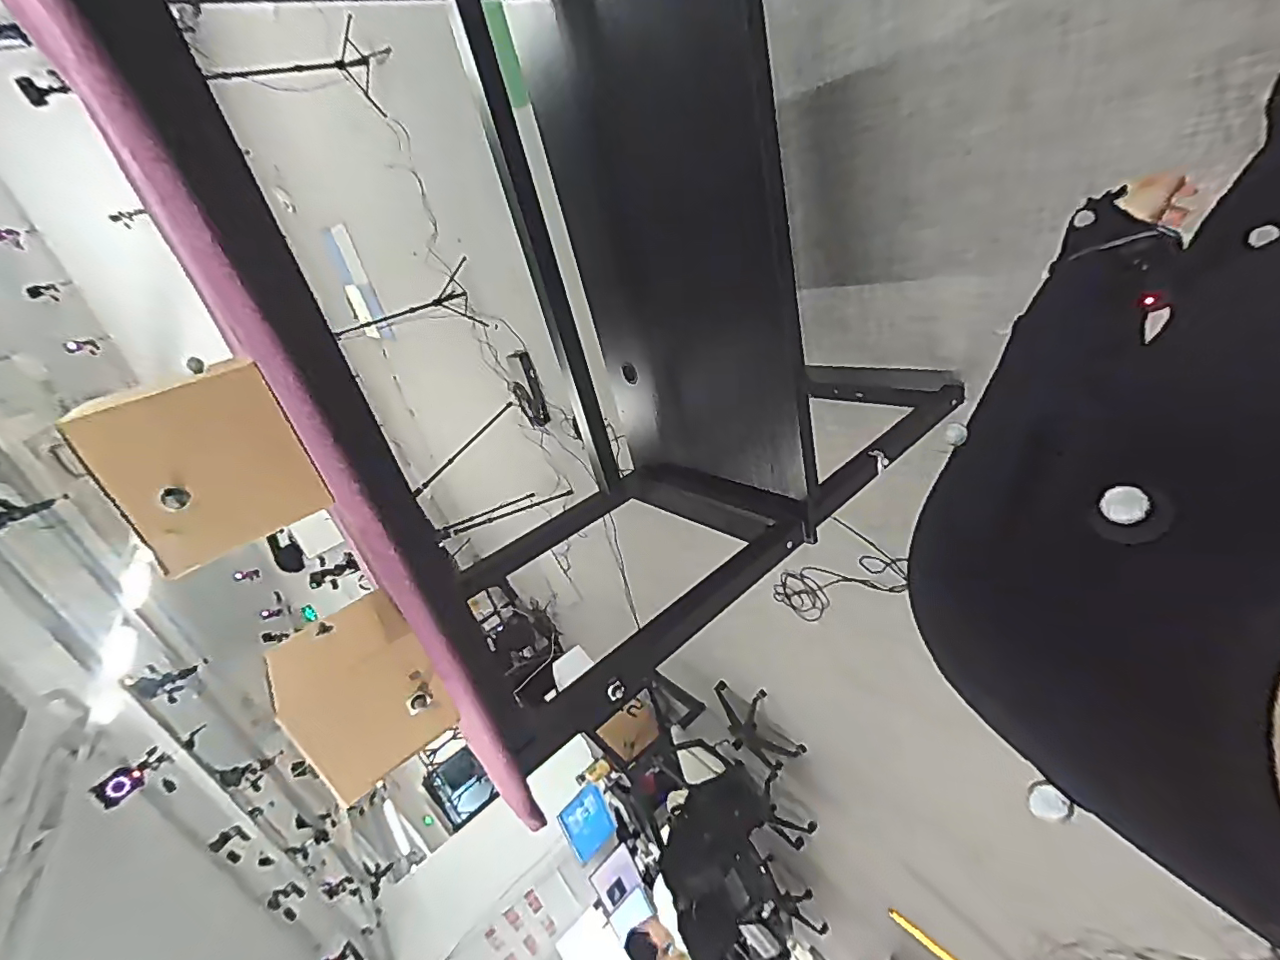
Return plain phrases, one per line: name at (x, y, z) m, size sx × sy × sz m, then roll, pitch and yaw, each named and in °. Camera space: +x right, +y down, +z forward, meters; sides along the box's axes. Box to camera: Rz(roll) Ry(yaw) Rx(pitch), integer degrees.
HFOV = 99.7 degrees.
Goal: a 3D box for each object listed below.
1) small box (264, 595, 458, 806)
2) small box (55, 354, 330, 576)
small box at (-0.376, 0.282, 0.738) m, size 0.179 × 0.176 × 0.168 m, roll 13°, pitch 128°, yaw 51°
small box at (-0.484, -0.028, 0.615) m, size 0.168 × 0.176 × 0.179 m, roll 21°, pitch 133°, yaw 50°
